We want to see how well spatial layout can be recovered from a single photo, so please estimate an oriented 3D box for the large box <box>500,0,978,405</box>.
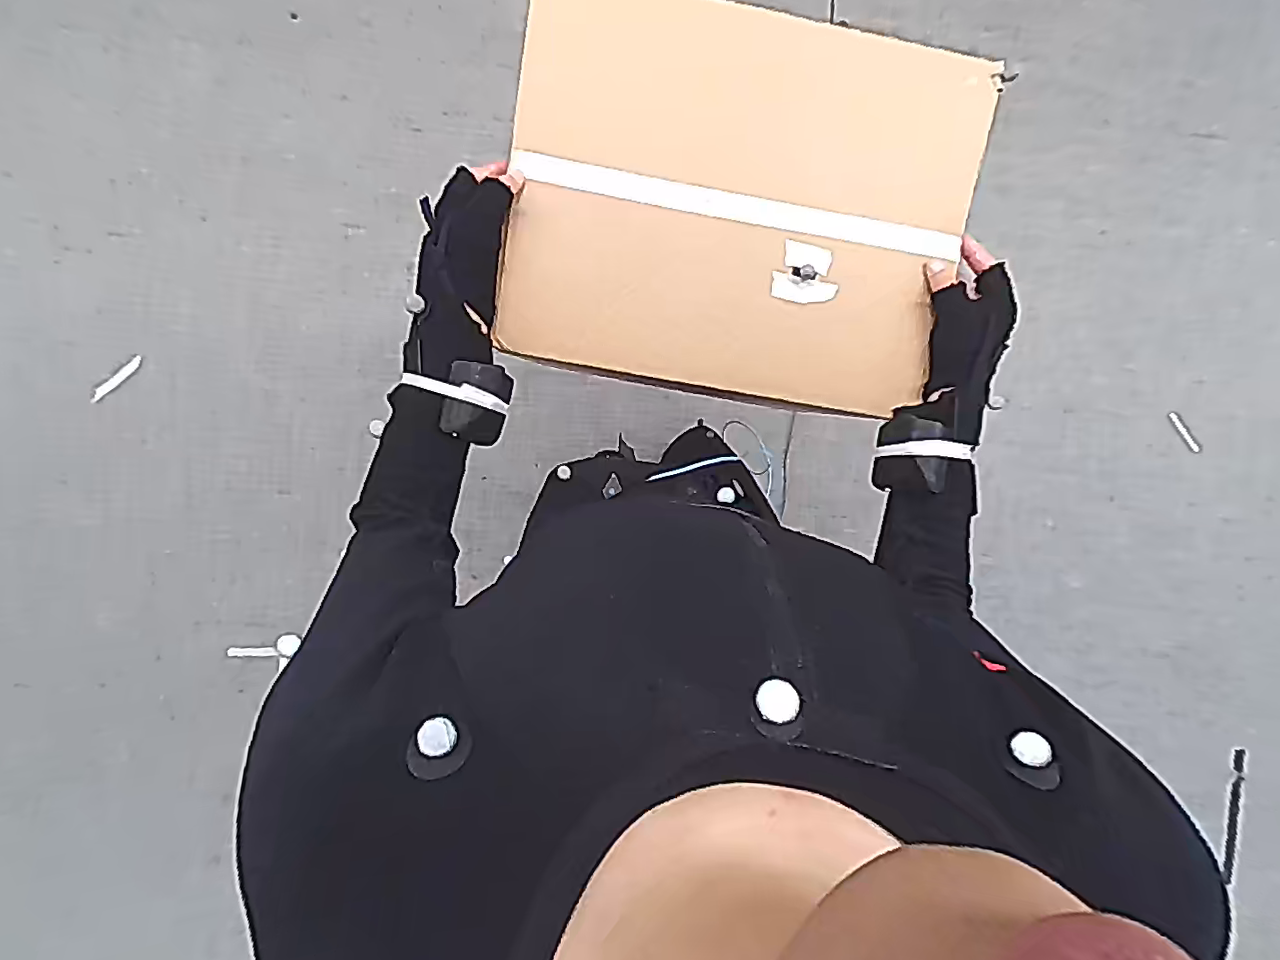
[{"bbox_3d":[0.078,-0.274,0.640,0.408,0.320,0.320,9,100,-5],"label":"large box"}]
